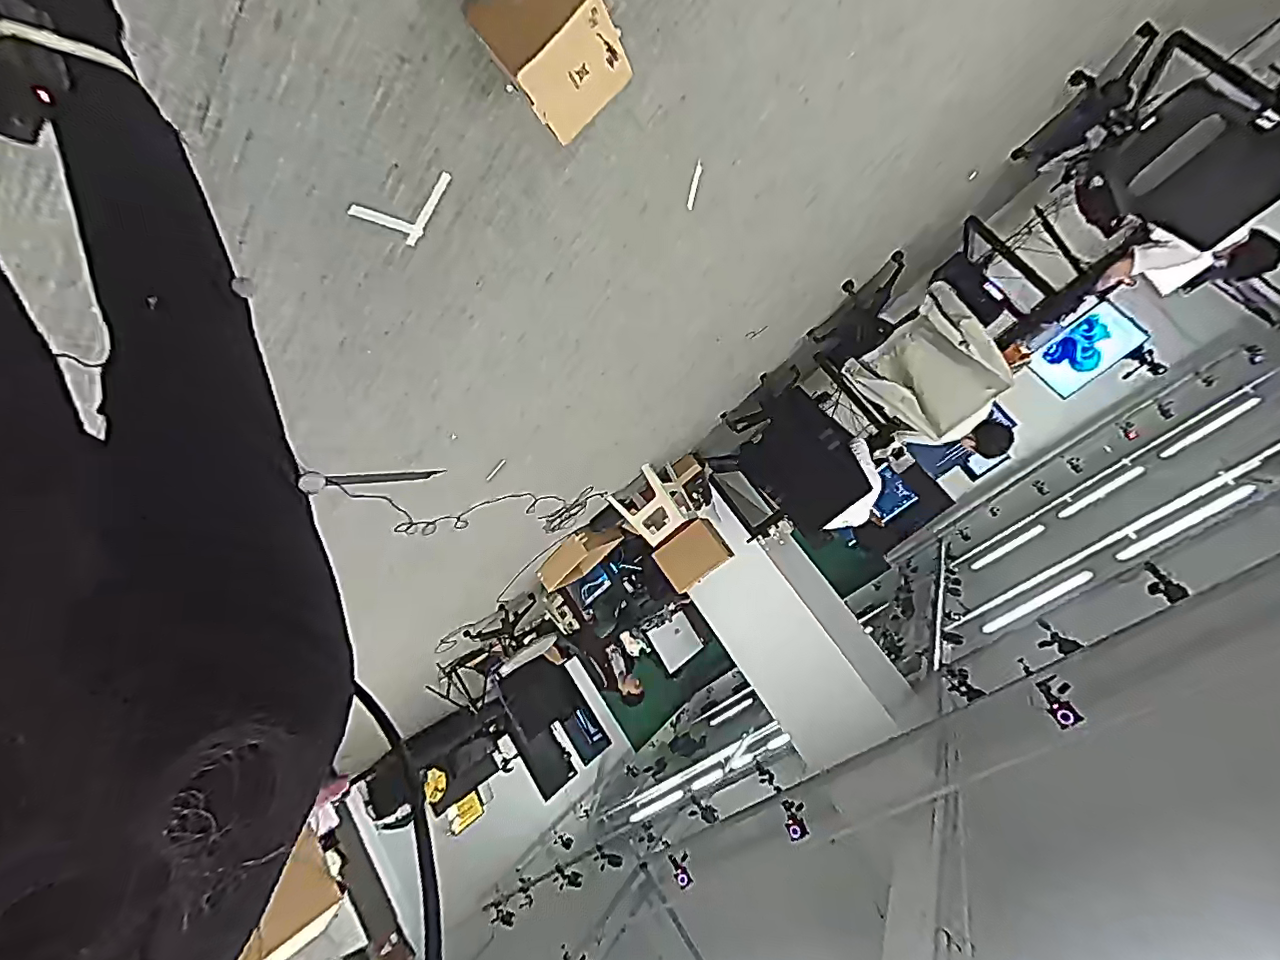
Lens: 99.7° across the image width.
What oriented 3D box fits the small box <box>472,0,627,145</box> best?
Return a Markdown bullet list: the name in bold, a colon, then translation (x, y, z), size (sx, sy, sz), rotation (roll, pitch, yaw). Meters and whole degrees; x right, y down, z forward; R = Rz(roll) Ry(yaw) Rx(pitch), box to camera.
- **small box**: translation (-0.156, -0.730, 0.912), size (0.179, 0.176, 0.168), rotation (-38, 165, 11)
